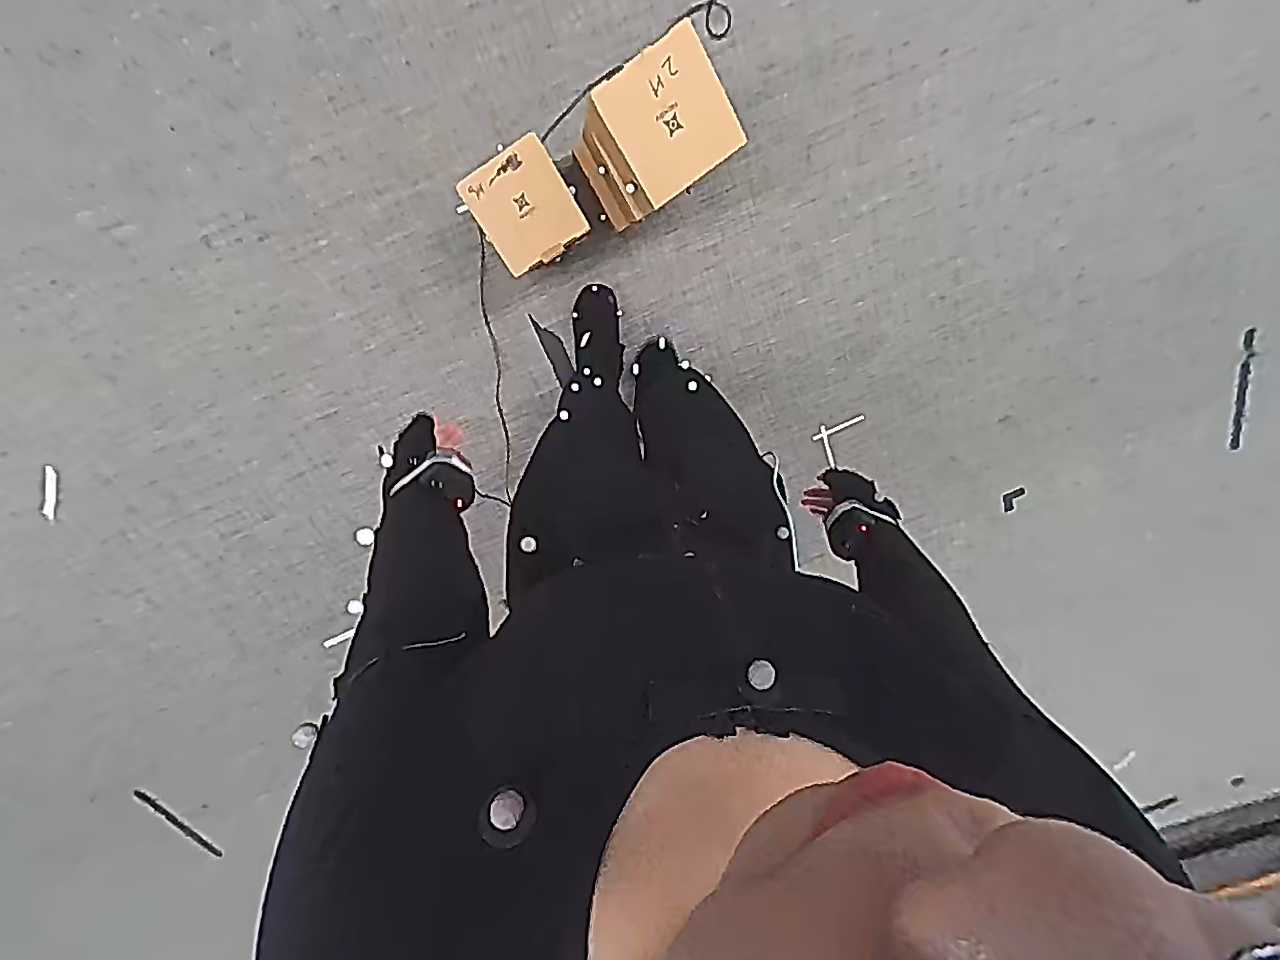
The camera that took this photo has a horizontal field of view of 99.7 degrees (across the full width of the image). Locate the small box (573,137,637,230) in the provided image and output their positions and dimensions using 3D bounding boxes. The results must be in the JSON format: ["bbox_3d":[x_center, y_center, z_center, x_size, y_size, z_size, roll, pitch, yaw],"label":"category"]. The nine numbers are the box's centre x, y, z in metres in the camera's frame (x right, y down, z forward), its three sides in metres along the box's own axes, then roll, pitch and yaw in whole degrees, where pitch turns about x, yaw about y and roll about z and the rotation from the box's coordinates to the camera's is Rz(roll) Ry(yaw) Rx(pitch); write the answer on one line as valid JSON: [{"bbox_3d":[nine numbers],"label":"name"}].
[{"bbox_3d":[-0.032,-0.652,1.146,0.168,0.176,0.179,-31,114,7],"label":"small box"}]

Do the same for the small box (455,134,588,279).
[{"bbox_3d":[-0.212,-0.504,1.009,0.168,0.176,0.179,-31,115,6],"label":"small box"}]

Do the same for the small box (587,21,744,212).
[{"bbox_3d":[0.033,-0.544,0.840,0.168,0.176,0.179,-34,114,7],"label":"small box"}]

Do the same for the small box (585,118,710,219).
[{"bbox_3d":[0.009,-0.602,0.993,0.168,0.176,0.179,-30,115,7],"label":"small box"}]
